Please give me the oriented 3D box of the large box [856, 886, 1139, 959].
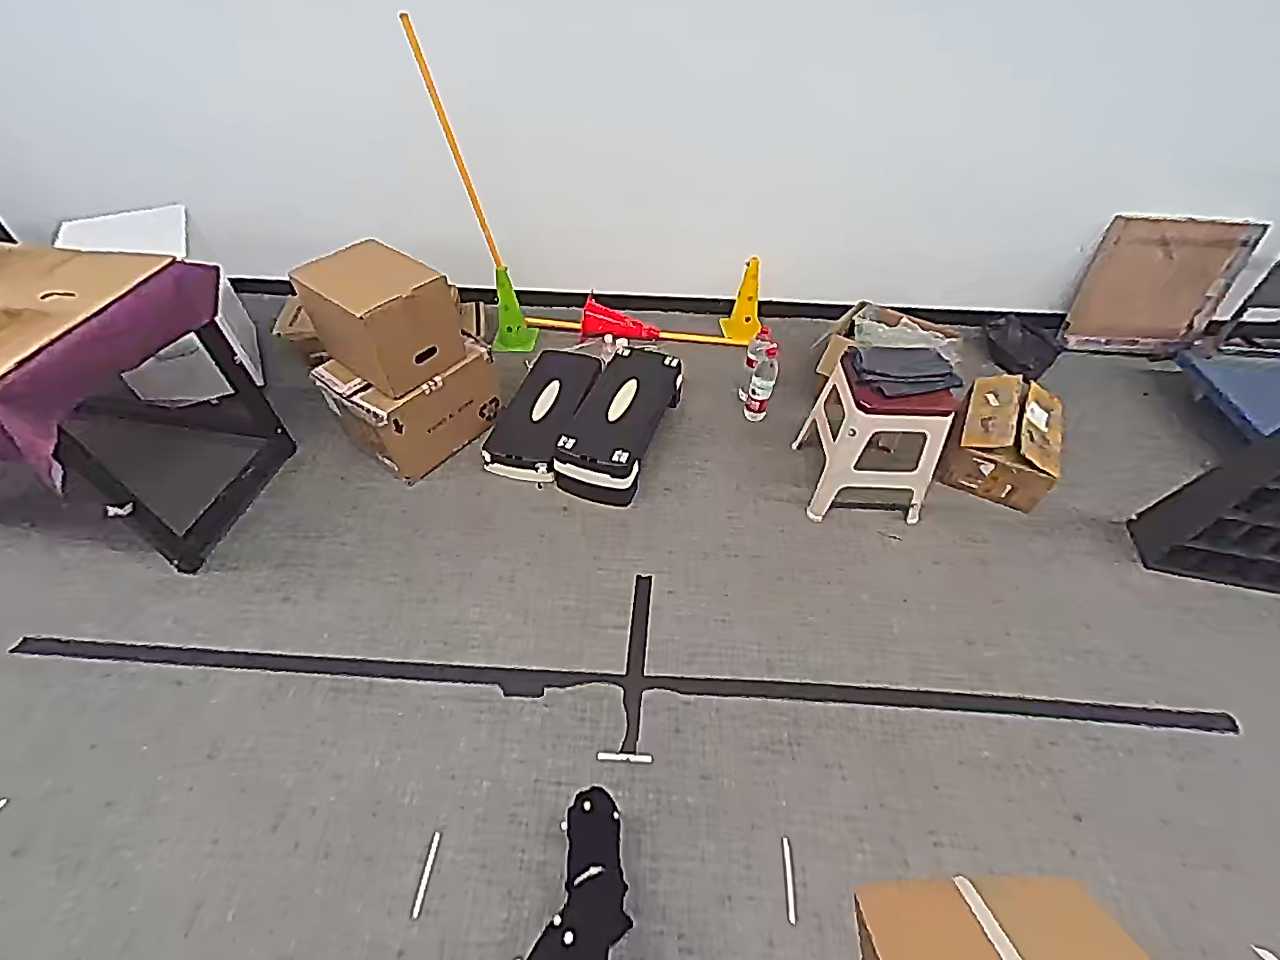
[{"bbox_3d":[0.467,0.751,0.599,0.320,0.408,0.320,-7,89,7],"label":"large box"}]
